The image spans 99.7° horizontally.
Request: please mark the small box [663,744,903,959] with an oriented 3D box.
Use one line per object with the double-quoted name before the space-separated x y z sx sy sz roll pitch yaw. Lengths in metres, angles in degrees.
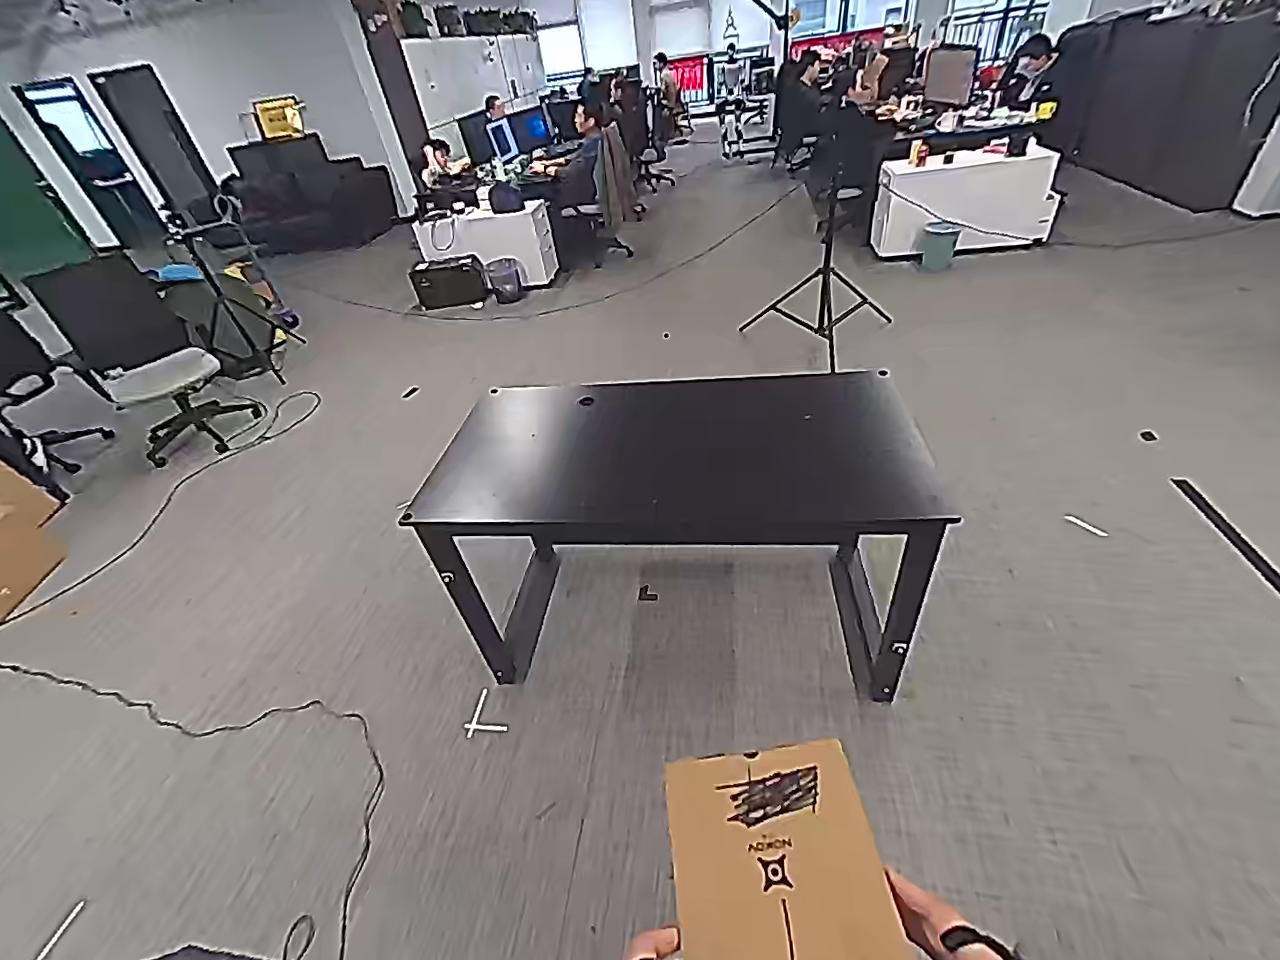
"small box" 0.118 0.373 0.493 0.168 0.176 0.179 -10 40 4
